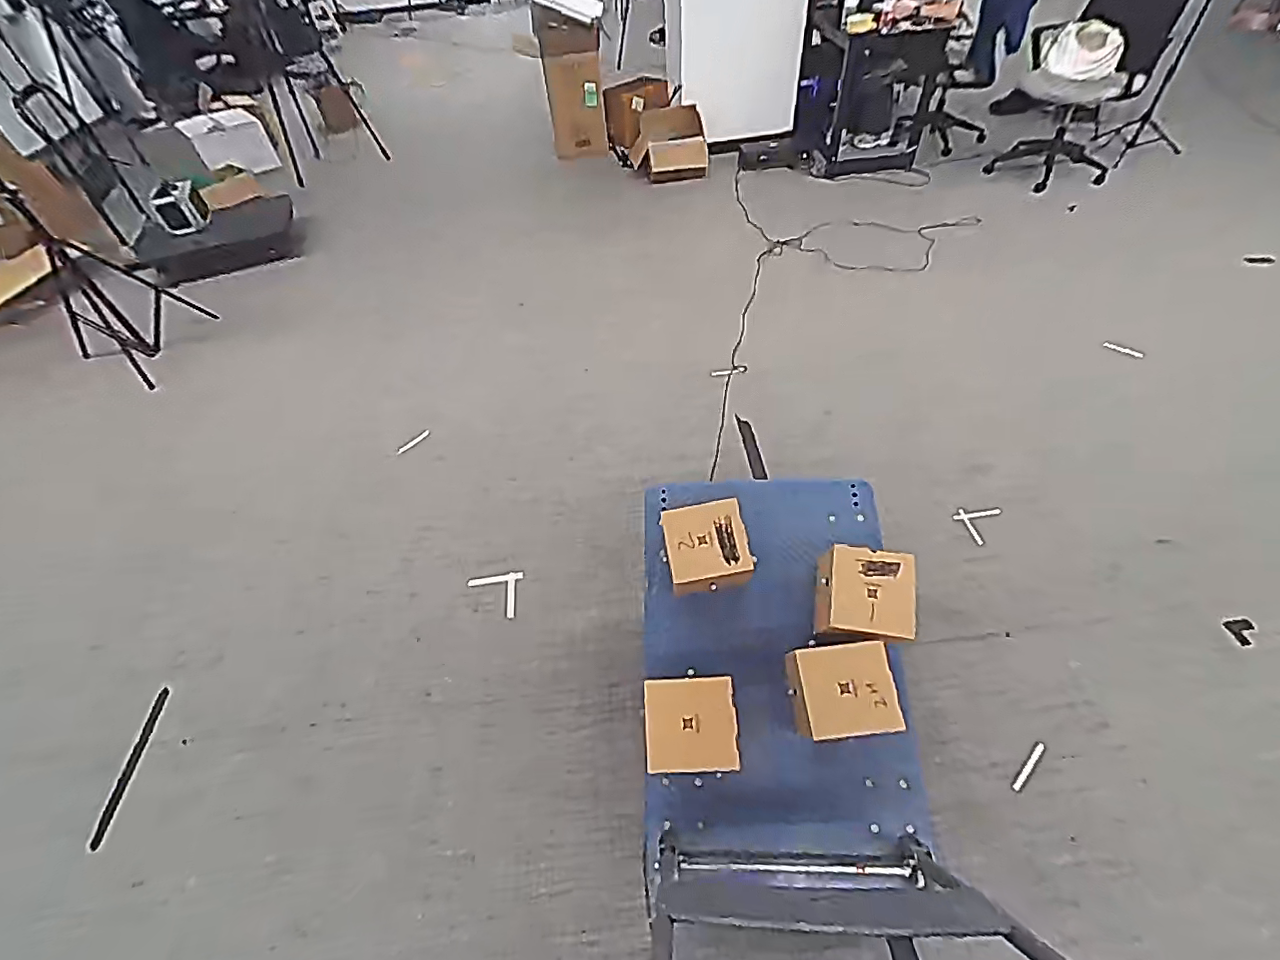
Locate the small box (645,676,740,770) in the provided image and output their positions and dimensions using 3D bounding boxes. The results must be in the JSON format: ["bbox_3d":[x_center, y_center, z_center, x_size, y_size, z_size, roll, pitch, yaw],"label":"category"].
[{"bbox_3d":[0.106,0.498,1.114,0.179,0.176,0.168,-4,68,2],"label":"small box"}]

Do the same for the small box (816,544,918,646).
[{"bbox_3d":[0.486,0.253,1.173,0.168,0.176,0.179,7,70,9],"label":"small box"}]

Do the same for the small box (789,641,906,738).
[{"bbox_3d":[0.410,0.430,1.109,0.179,0.176,0.168,-7,68,3],"label":"small box"}]
